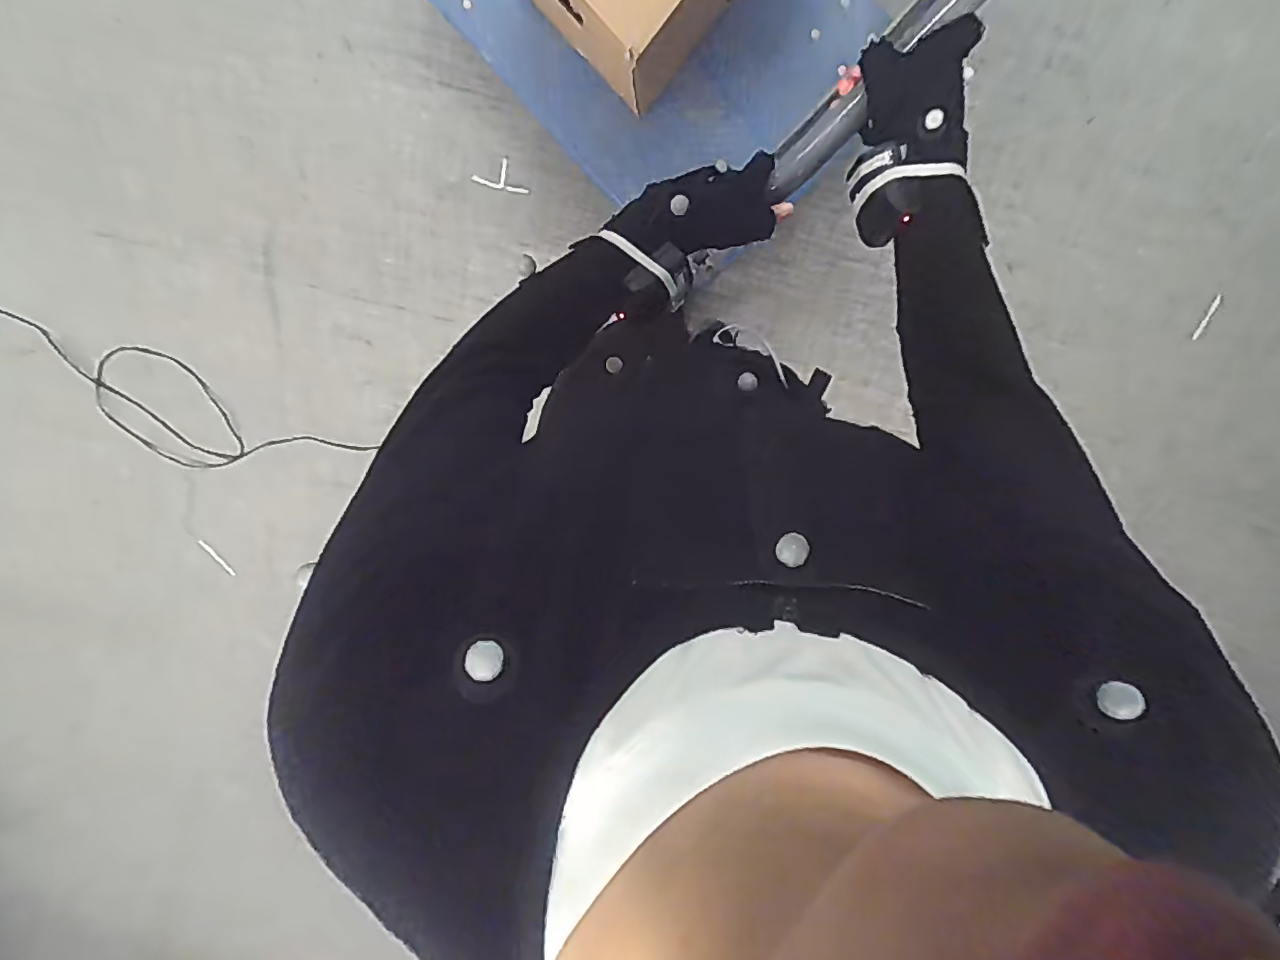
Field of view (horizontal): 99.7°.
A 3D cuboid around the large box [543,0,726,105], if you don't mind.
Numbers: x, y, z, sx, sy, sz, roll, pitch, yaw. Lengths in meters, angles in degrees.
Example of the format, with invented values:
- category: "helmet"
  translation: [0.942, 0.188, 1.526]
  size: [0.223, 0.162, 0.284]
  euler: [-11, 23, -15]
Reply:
- category: "large box"
  translation: [0.024, -0.909, 0.842]
  size: [0.320, 0.320, 0.408]
  euler: [40, 109, -12]
